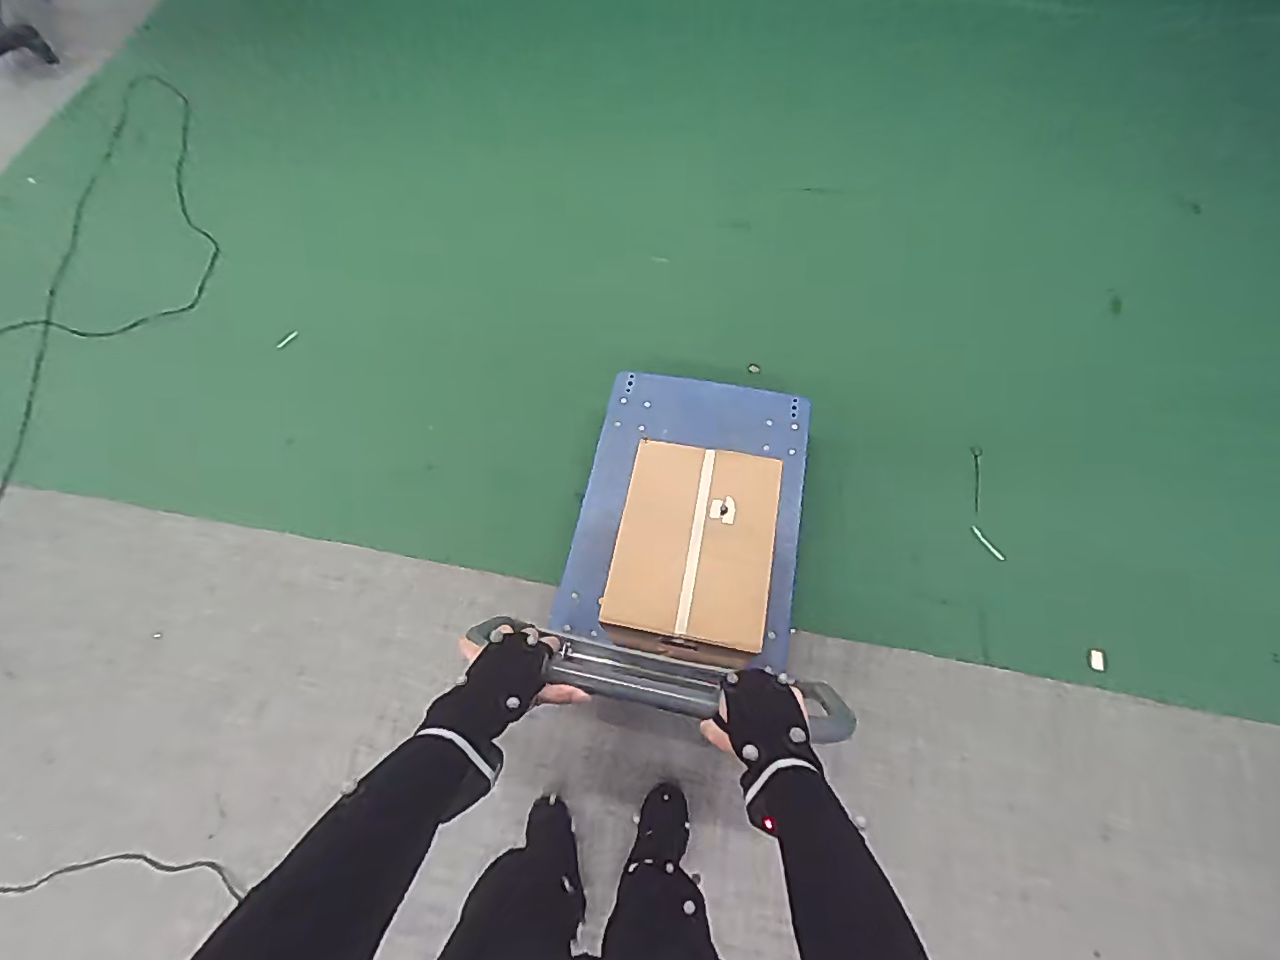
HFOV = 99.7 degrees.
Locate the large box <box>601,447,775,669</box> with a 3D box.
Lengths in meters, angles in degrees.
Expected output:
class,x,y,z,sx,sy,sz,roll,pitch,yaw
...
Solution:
class,x,y,z,sx,sy,sz,roll,pitch,yaw
large box,0.113,0.188,1.234,0.320,0.320,0.408,9,66,6
